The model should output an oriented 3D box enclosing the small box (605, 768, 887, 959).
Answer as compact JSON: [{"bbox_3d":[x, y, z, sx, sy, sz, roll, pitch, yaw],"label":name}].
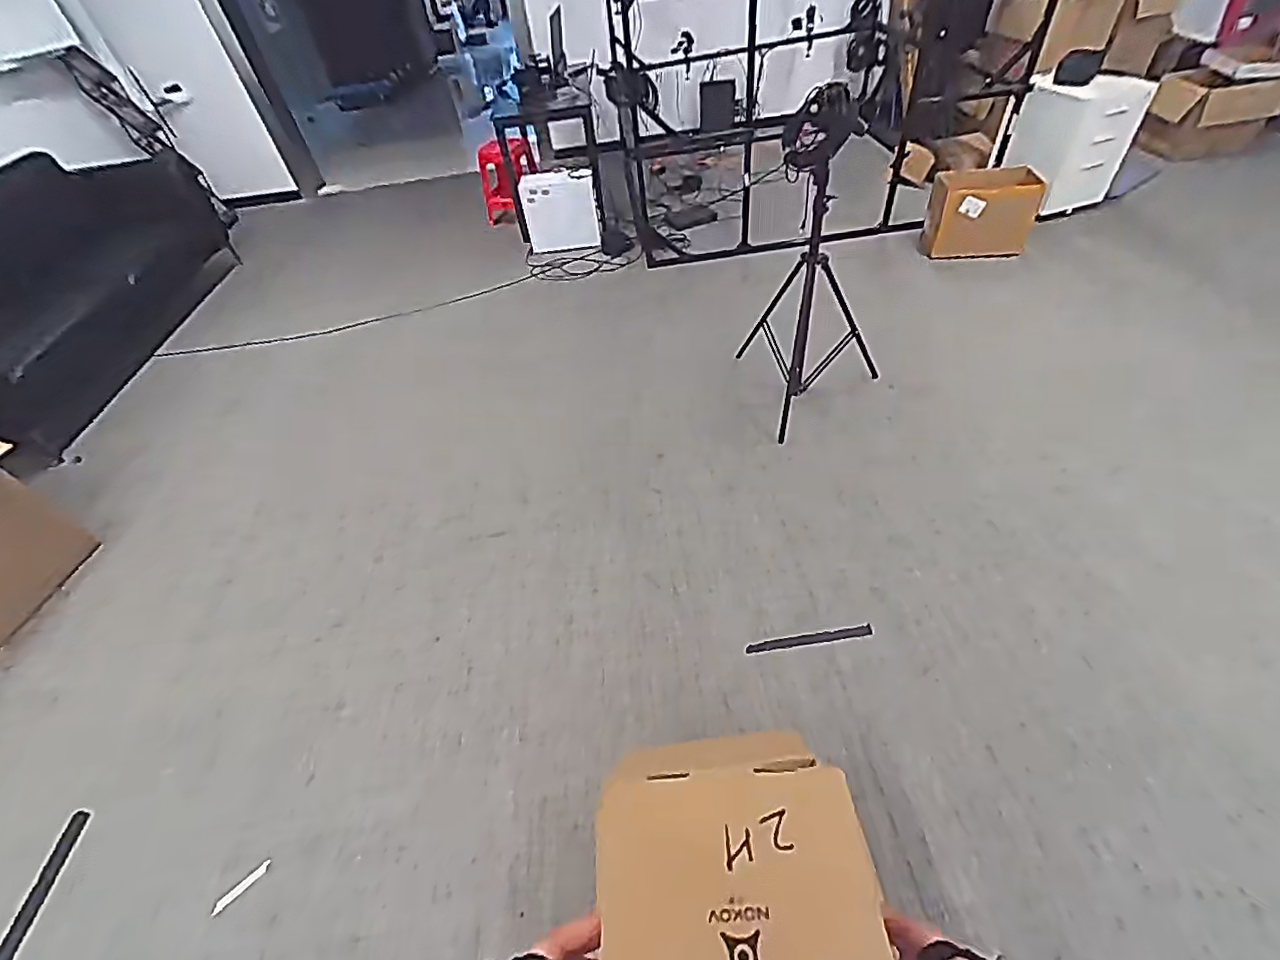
[{"bbox_3d":[0.066,0.323,0.381,0.168,0.176,0.179,-4,48,1],"label":"small box"}]
